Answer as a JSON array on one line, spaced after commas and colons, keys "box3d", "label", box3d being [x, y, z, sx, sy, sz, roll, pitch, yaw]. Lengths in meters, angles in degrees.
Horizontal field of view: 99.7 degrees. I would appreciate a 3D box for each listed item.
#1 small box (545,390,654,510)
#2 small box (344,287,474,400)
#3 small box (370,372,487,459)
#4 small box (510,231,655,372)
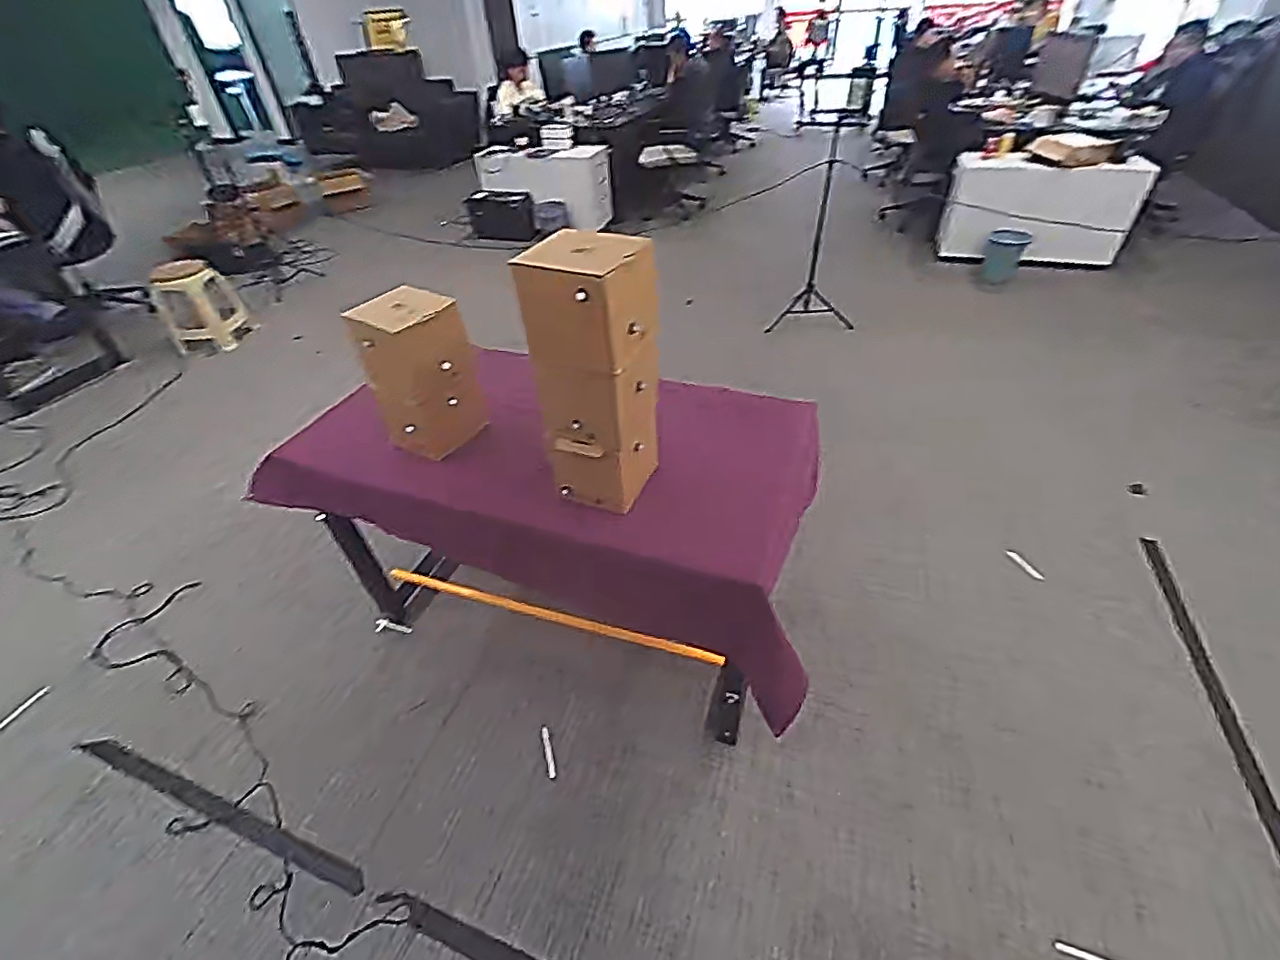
[{"box3d": [-0.073, -0.062, 1.130, 0.168, 0.176, 0.179, 14, 44, 19], "label": "small box"}, {"box3d": [-0.496, -0.297, 1.181, 0.179, 0.176, 0.168, 22, 49, 25], "label": "small box"}, {"box3d": [-0.494, -0.176, 1.292, 0.168, 0.176, 0.179, 21, 47, 24], "label": "small box"}, {"box3d": [-0.086, -0.300, 0.907, 0.179, 0.176, 0.168, 17, 46, 21], "label": "small box"}]
